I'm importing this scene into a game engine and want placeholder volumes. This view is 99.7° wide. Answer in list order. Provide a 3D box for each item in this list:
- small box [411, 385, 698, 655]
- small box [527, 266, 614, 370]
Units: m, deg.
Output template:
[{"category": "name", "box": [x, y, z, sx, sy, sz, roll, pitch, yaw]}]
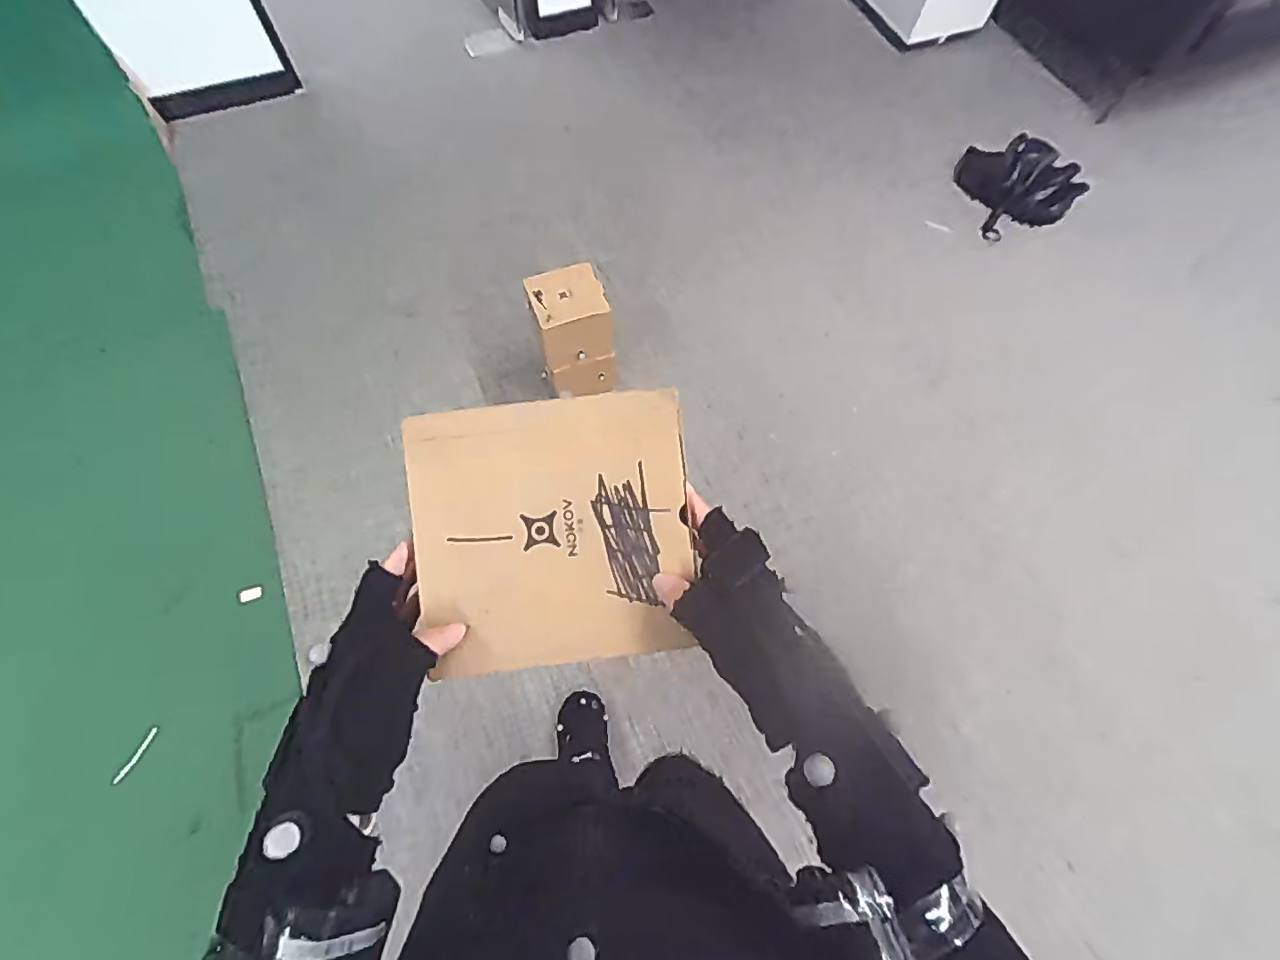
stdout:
[{"category": "small box", "box": [-0.058, 0.027, 0.421, 0.179, 0.176, 0.168, -4, 87, -2]}, {"category": "small box", "box": [-0.174, -0.409, 1.385, 0.179, 0.176, 0.168, -18, 69, -10]}]
